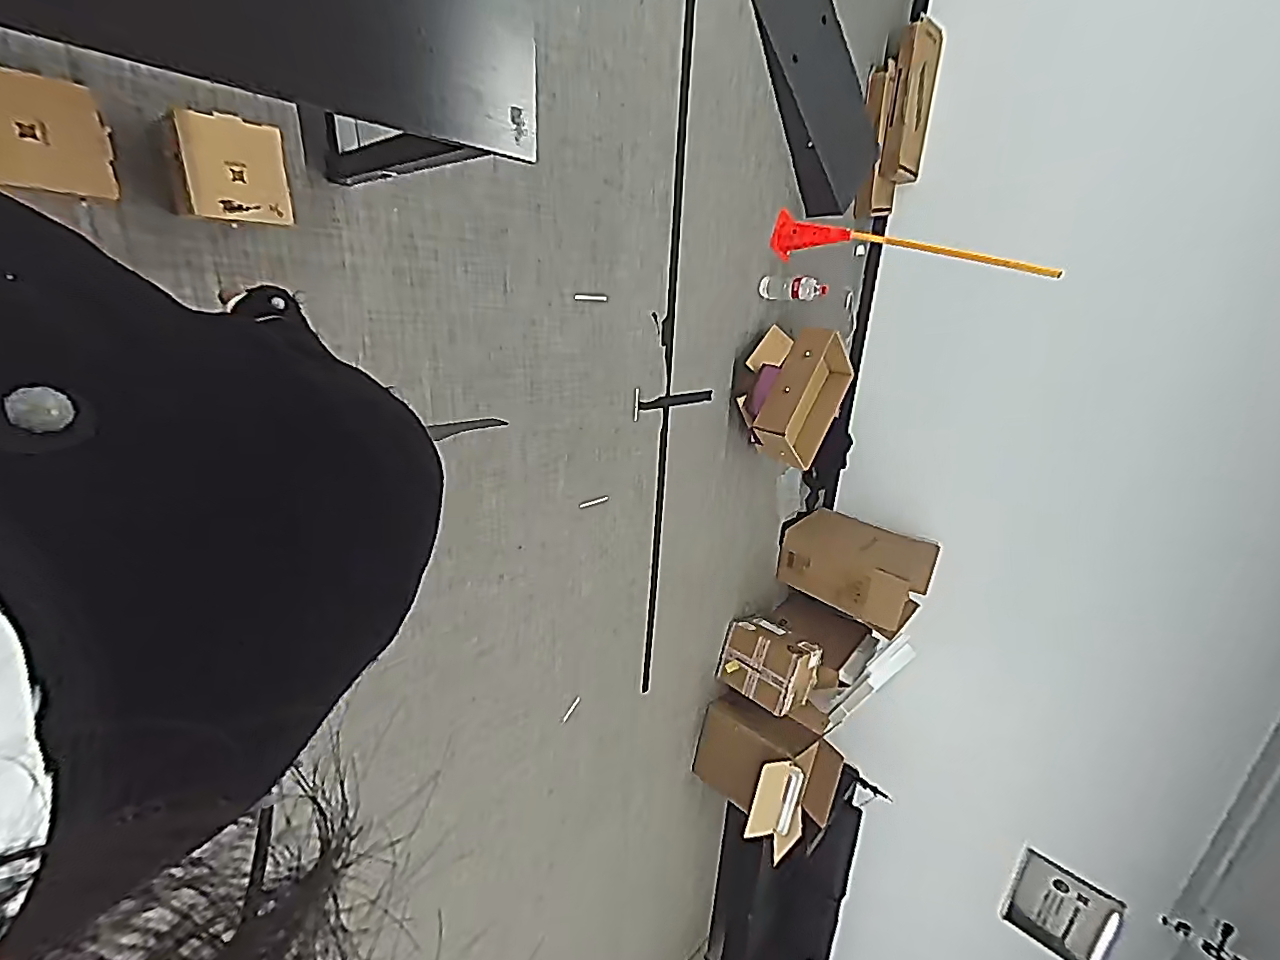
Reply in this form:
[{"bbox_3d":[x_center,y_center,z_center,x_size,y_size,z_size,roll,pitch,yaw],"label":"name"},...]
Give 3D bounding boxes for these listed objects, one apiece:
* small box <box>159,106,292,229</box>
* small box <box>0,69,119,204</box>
[{"bbox_3d":[-0.822,-0.607,1.073,0.168,0.176,0.179,-17,117,-43],"label":"small box"},{"bbox_3d":[-1.003,-0.558,0.889,0.179,0.176,0.168,-16,117,-43],"label":"small box"}]
